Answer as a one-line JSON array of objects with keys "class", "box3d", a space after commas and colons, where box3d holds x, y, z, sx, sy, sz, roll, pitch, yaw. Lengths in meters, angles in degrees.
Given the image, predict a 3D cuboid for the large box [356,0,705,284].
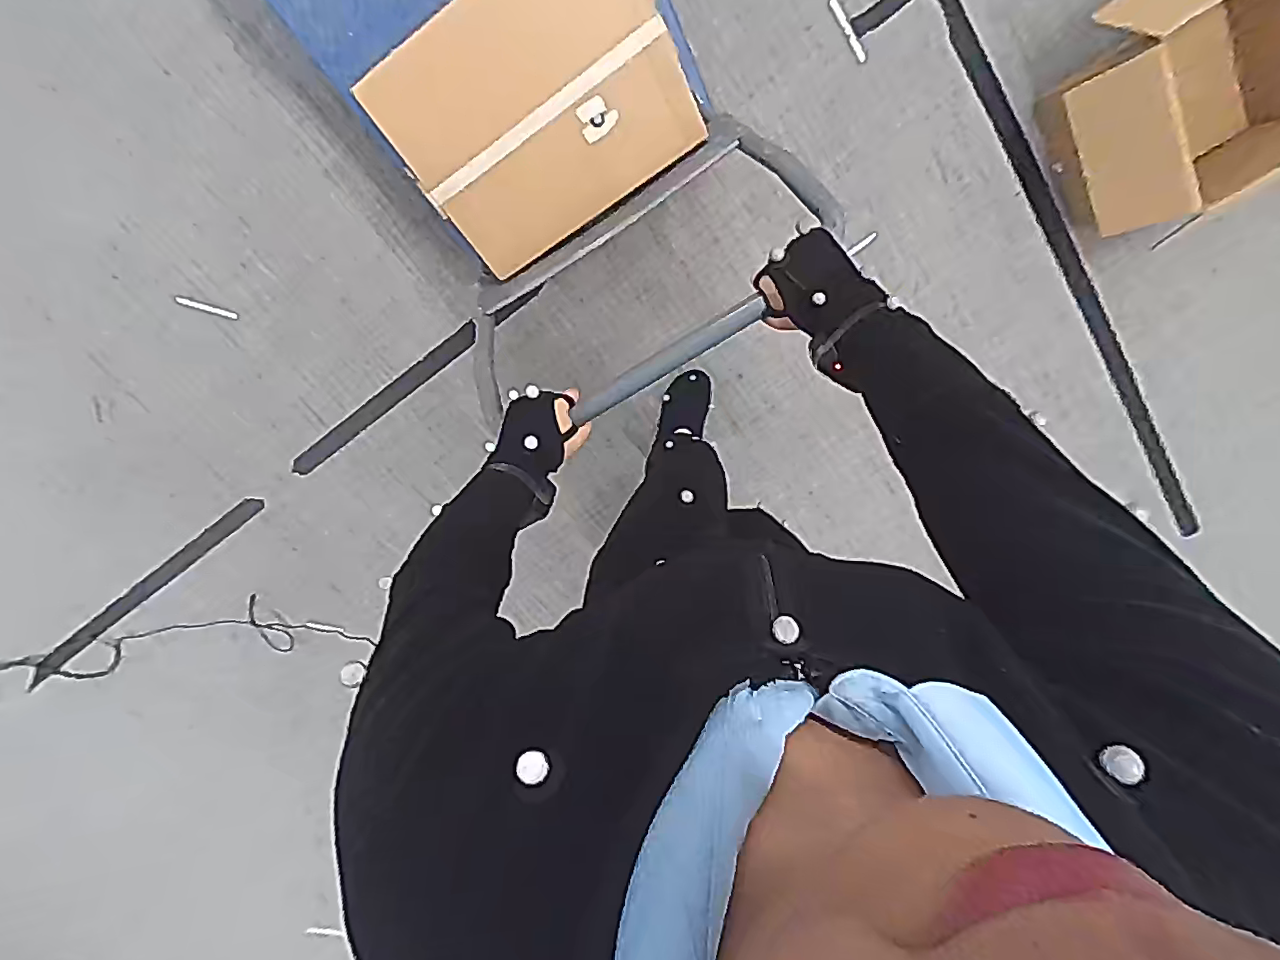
[{"class": "large box", "box3d": [-0.167, -0.604, 0.884, 0.408, 0.320, 0.320, -31, 128, 12]}]
